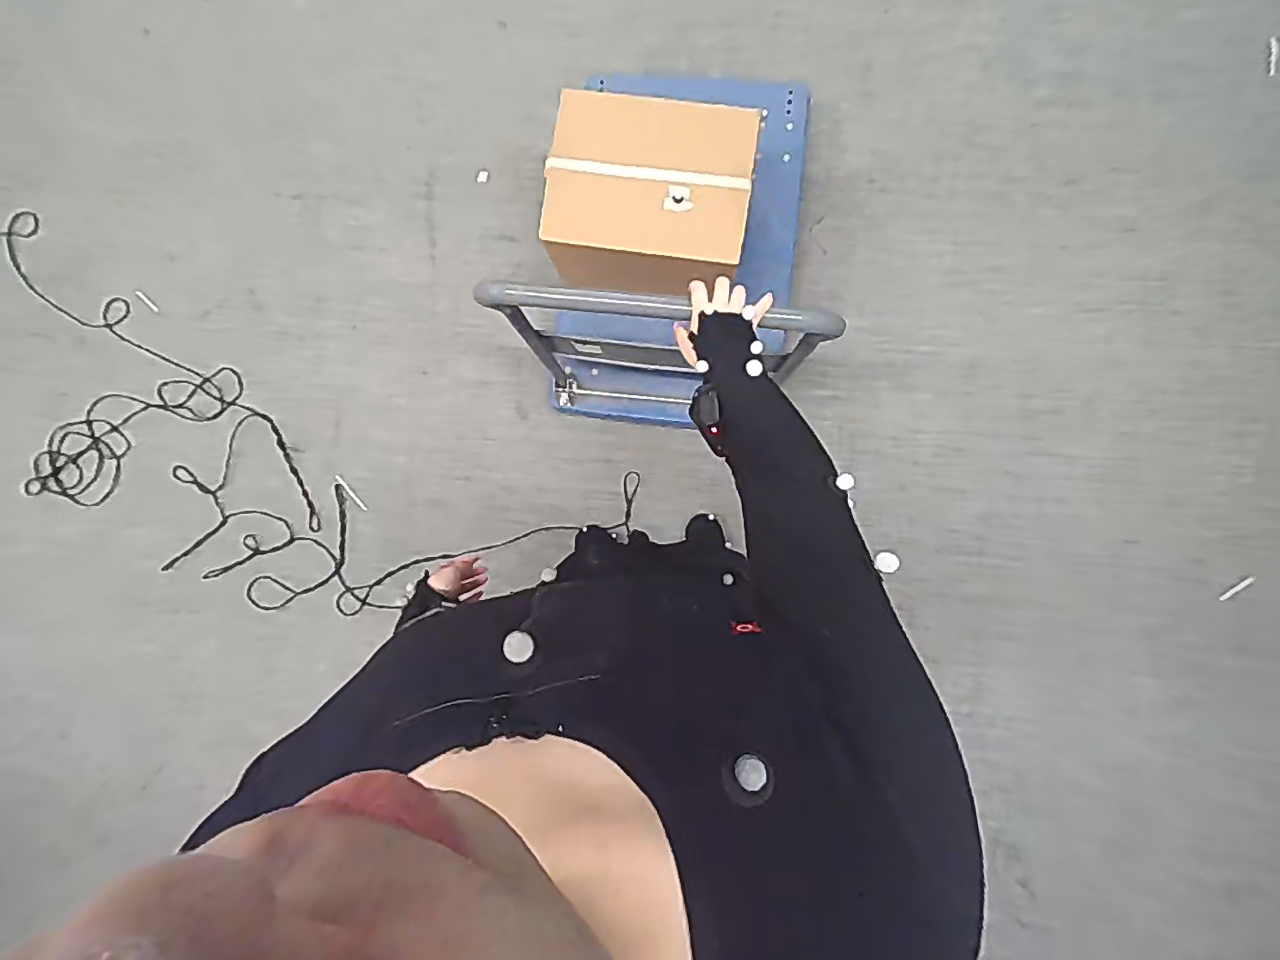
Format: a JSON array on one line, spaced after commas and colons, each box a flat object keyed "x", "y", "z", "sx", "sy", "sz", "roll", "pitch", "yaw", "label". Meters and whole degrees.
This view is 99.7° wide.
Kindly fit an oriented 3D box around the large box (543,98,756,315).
[{"x": 0.022, "y": -0.599, "z": 1.237, "sx": 0.408, "sy": 0.320, "sz": 0.320, "roll": 9, "pitch": 88, "yaw": 3, "label": "large box"}]
